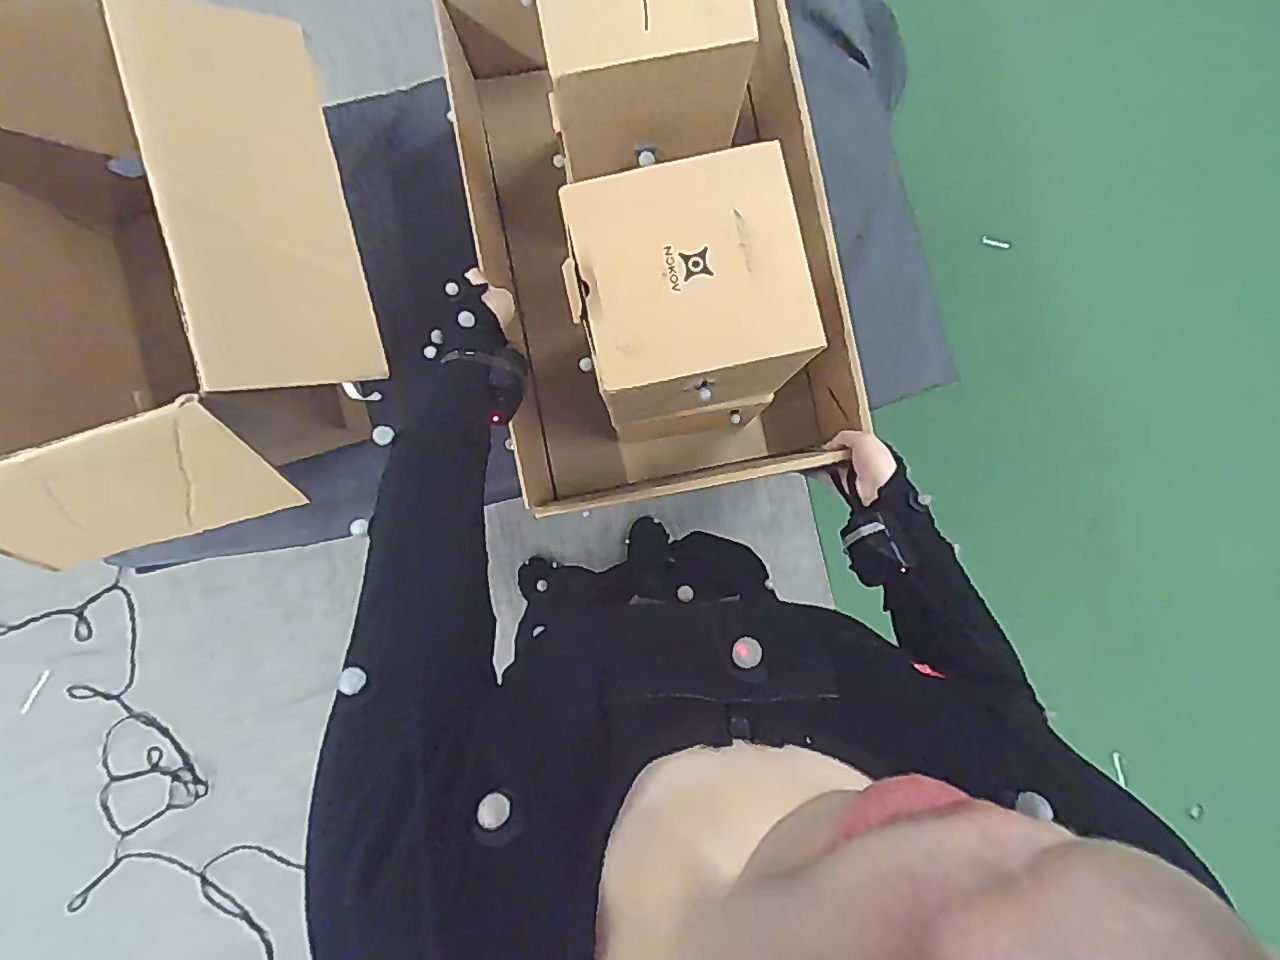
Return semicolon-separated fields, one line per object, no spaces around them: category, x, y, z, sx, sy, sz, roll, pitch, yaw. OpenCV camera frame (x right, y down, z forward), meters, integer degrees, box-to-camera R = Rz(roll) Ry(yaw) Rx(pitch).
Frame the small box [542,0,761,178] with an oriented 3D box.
small box;0.000;-0.410;0.494;0.168;0.176;0.179;-10;91;1

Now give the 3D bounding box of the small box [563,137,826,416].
small box;0.042;-0.162;0.491;0.179;0.176;0.168;-12;88;0
